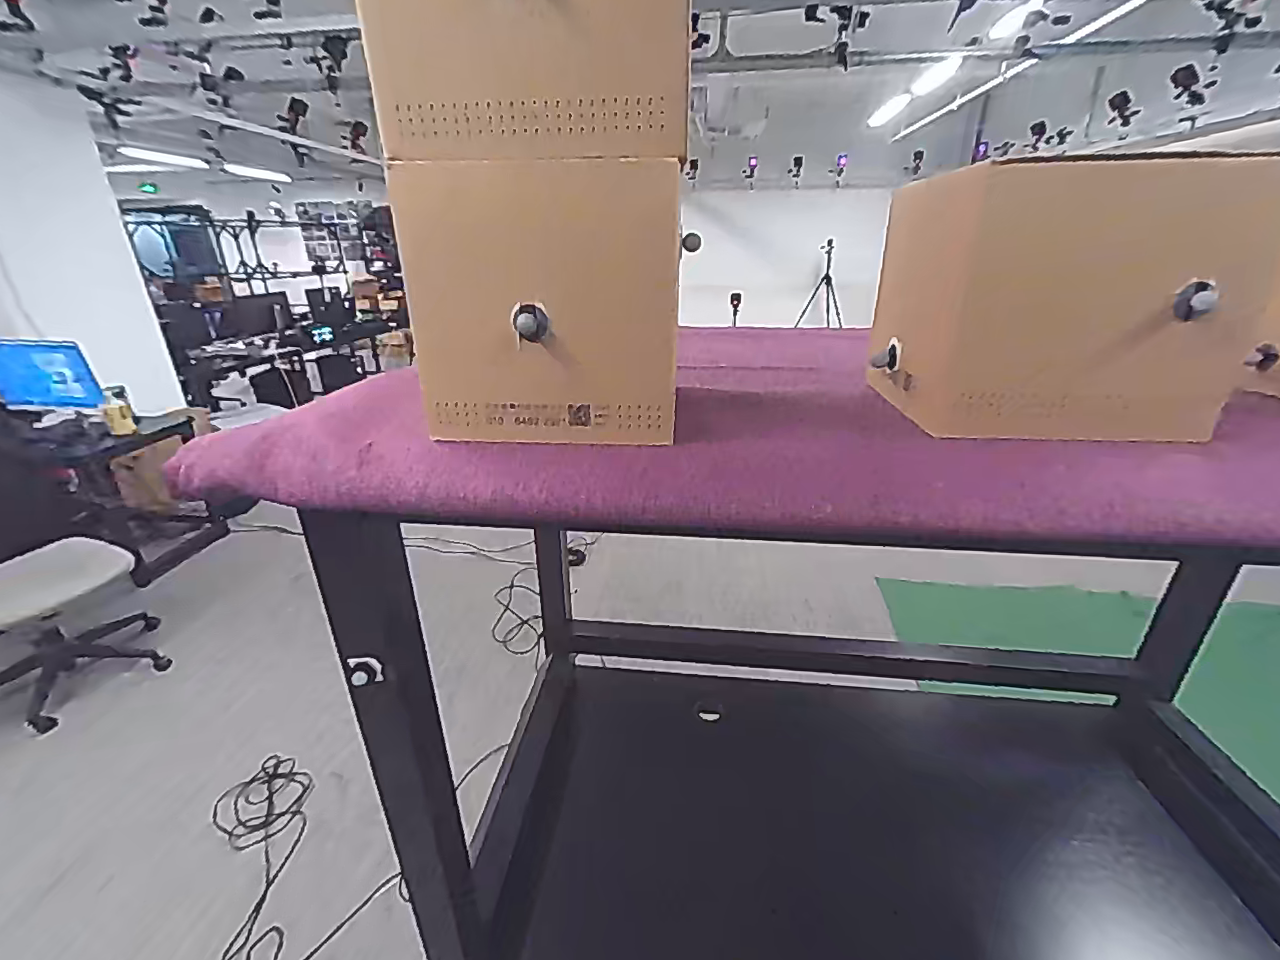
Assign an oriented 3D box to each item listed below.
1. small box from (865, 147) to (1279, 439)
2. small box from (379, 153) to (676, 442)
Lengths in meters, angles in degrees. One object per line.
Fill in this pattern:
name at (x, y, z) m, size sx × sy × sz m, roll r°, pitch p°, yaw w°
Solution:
small box at (0.285, -0.132, 0.397) m, size 0.179 × 0.176 × 0.168 m, roll 0°, pitch 23°, yaw 5°
small box at (-0.057, -0.133, 0.402) m, size 0.168 × 0.176 × 0.179 m, roll 2°, pitch 24°, yaw 4°
